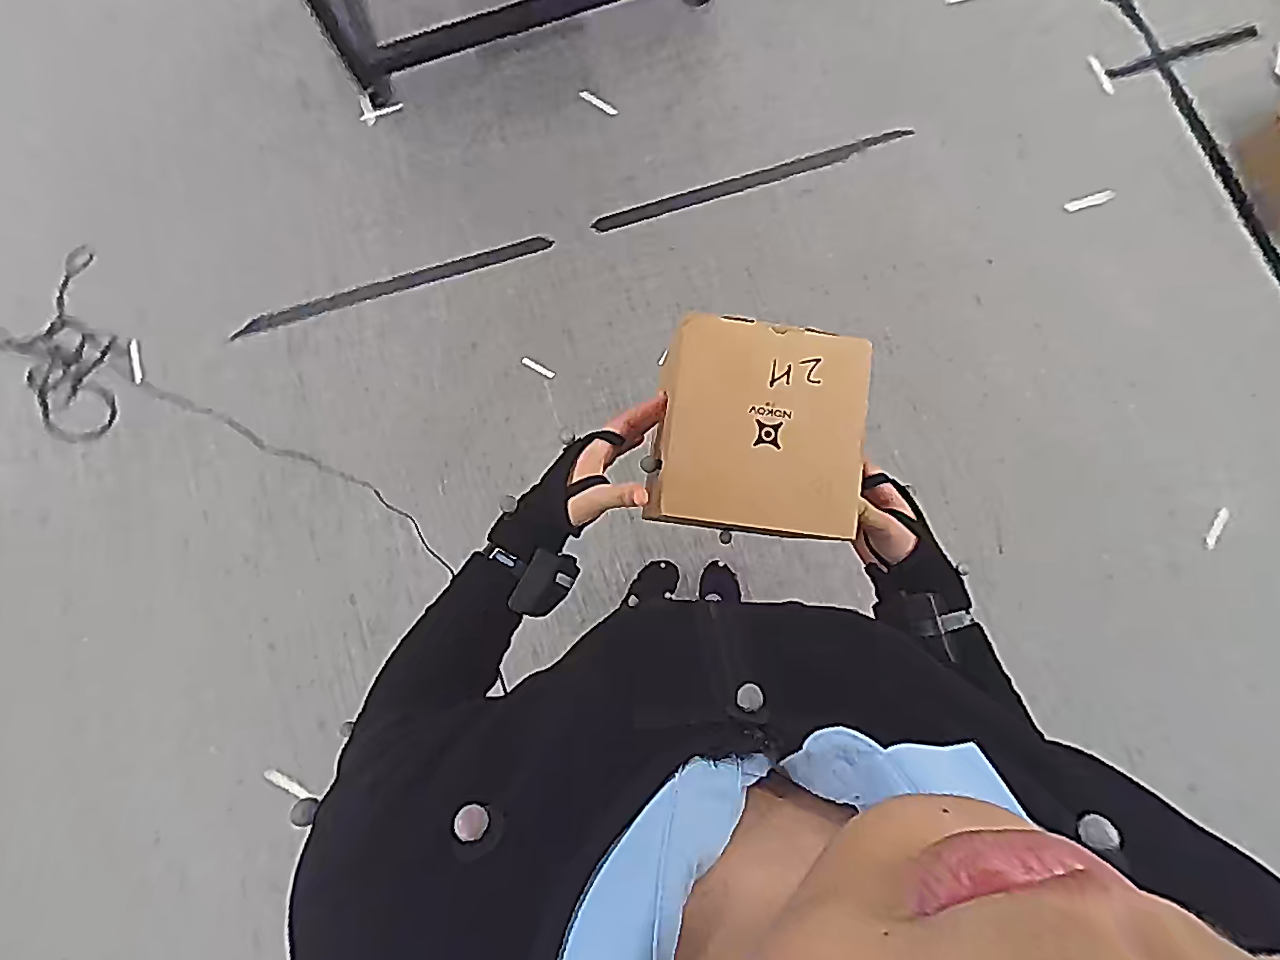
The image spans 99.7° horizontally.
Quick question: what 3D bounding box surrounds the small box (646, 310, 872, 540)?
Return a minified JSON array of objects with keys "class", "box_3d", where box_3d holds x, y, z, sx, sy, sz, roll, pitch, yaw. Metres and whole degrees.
[{"class":"small box","box_3d":[0.100,-0.039,0.526,0.168,0.176,0.179,7,84,-5]}]
